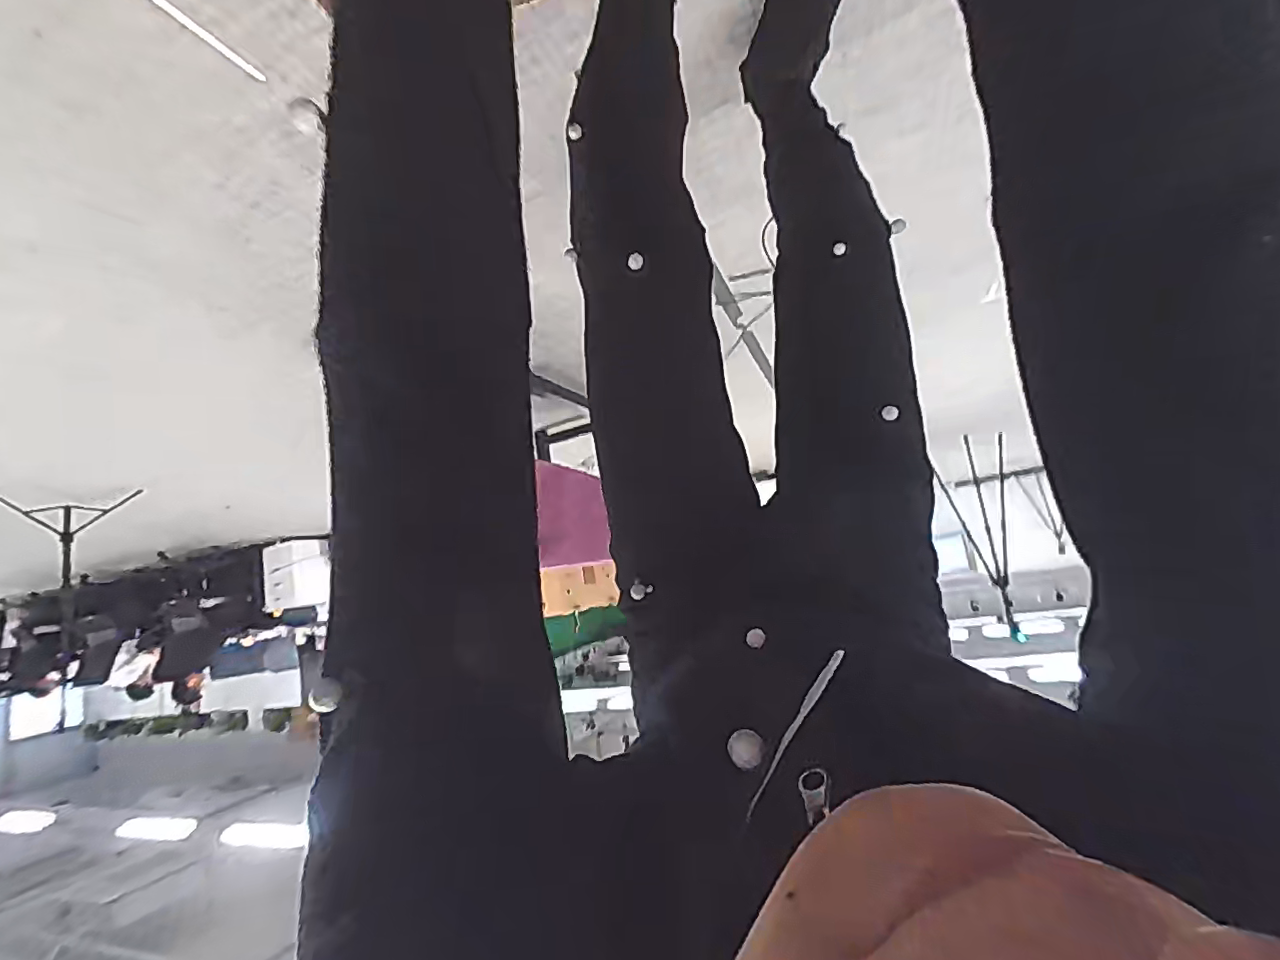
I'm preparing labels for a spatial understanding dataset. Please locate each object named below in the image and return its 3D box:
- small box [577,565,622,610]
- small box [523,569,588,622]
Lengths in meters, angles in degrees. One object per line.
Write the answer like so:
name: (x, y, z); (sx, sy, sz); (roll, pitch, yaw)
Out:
small box: (-0.201, 0.457, 2.299); (0.179, 0.176, 0.168); (-16, 169, 31)
small box: (-0.325, 0.435, 2.059); (0.179, 0.176, 0.168); (-14, 169, 24)
